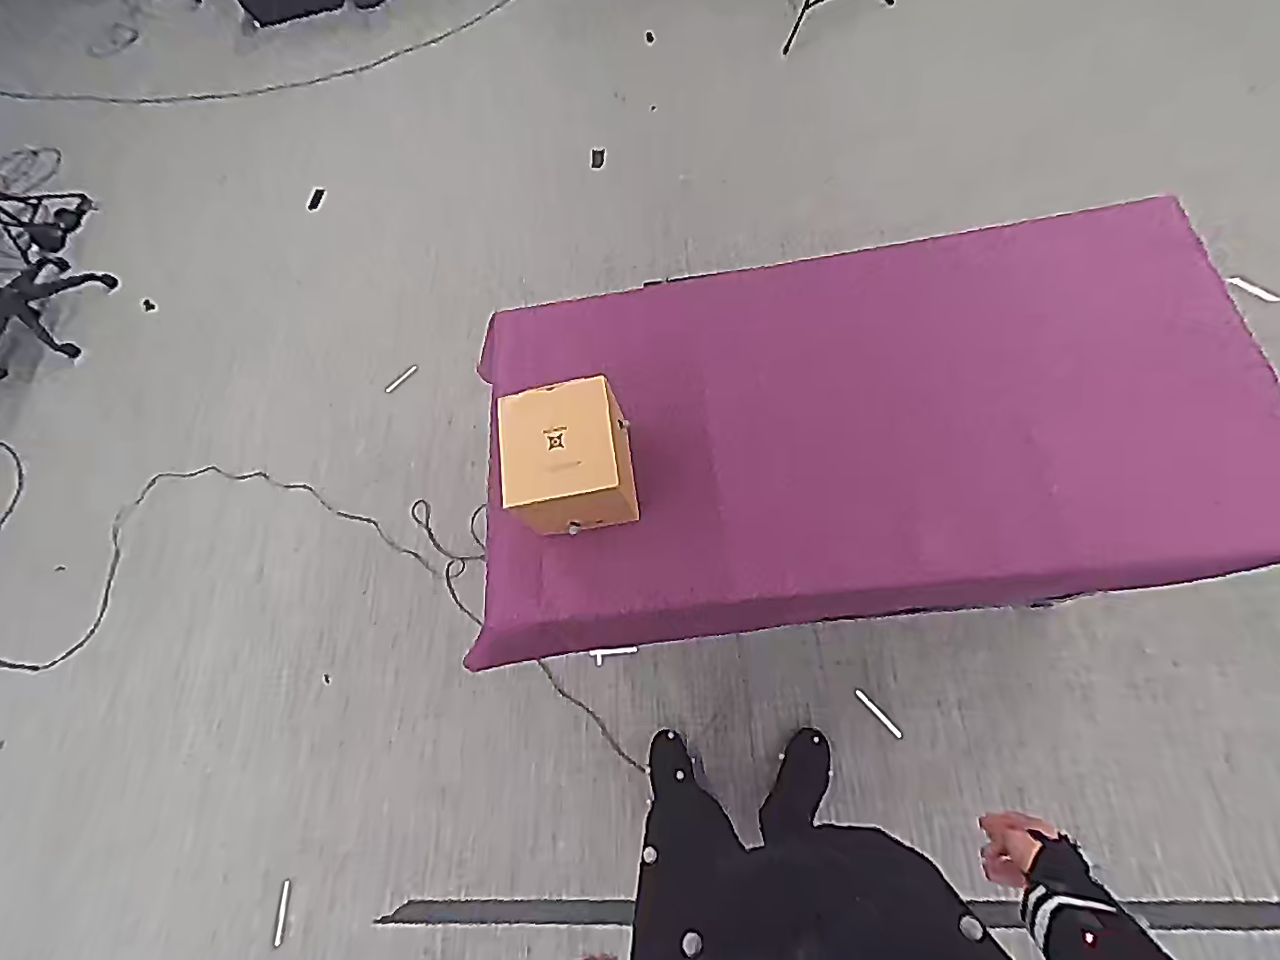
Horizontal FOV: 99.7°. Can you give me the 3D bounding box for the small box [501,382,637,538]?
[{"bbox_3d":[-0.106,-0.024,0.842,0.168,0.176,0.179,-11,68,6],"label":"small box"}]
